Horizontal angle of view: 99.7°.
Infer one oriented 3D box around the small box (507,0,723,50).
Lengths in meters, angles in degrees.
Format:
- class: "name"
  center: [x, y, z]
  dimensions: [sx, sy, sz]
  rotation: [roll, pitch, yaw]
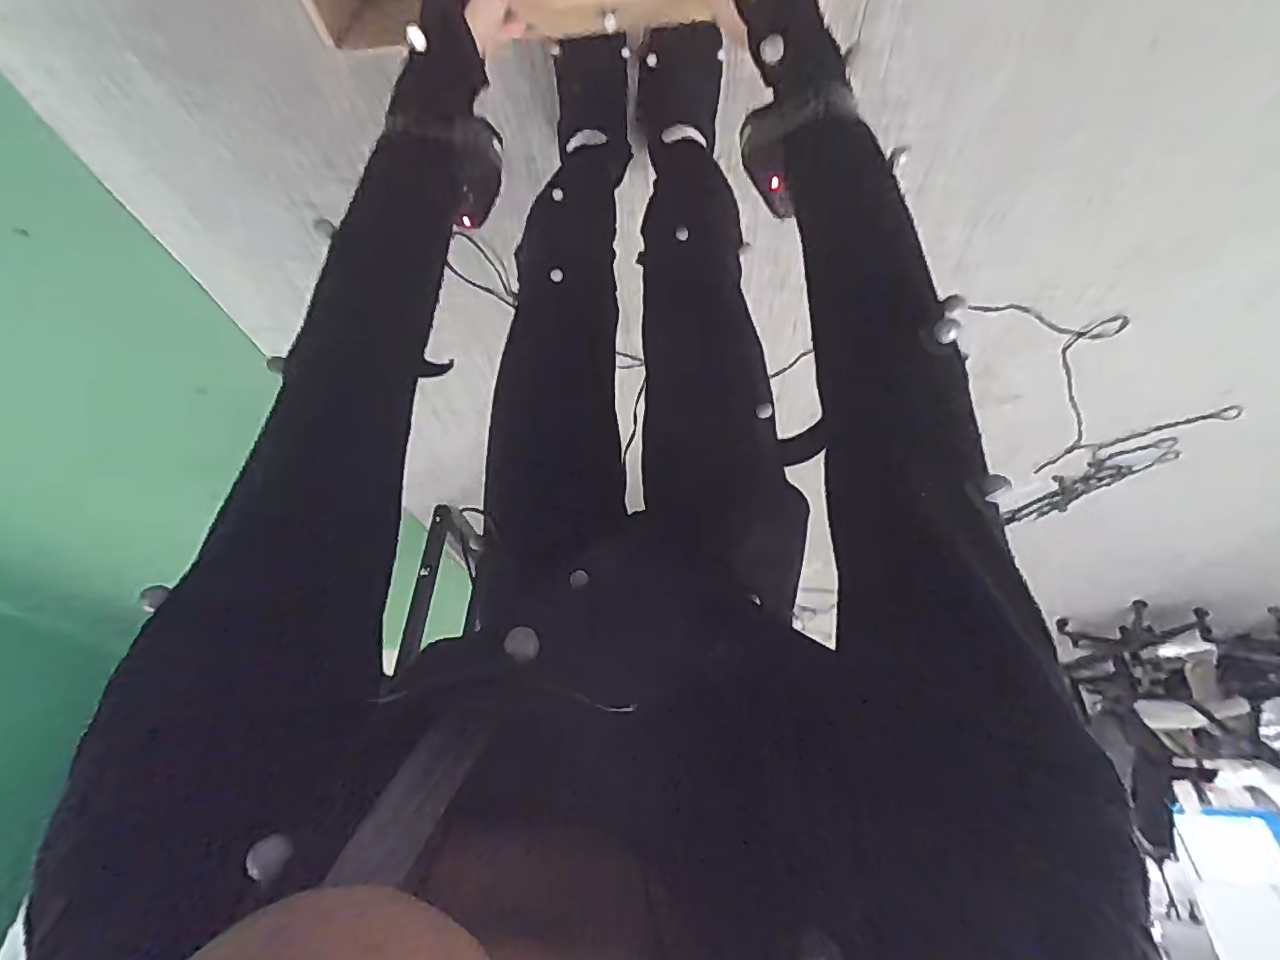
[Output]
- class: "small box"
  center: [-0.018, -0.480, 0.452]
  dimensions: [0.179, 0.176, 0.168]
  rotation: [-2, 124, 8]
